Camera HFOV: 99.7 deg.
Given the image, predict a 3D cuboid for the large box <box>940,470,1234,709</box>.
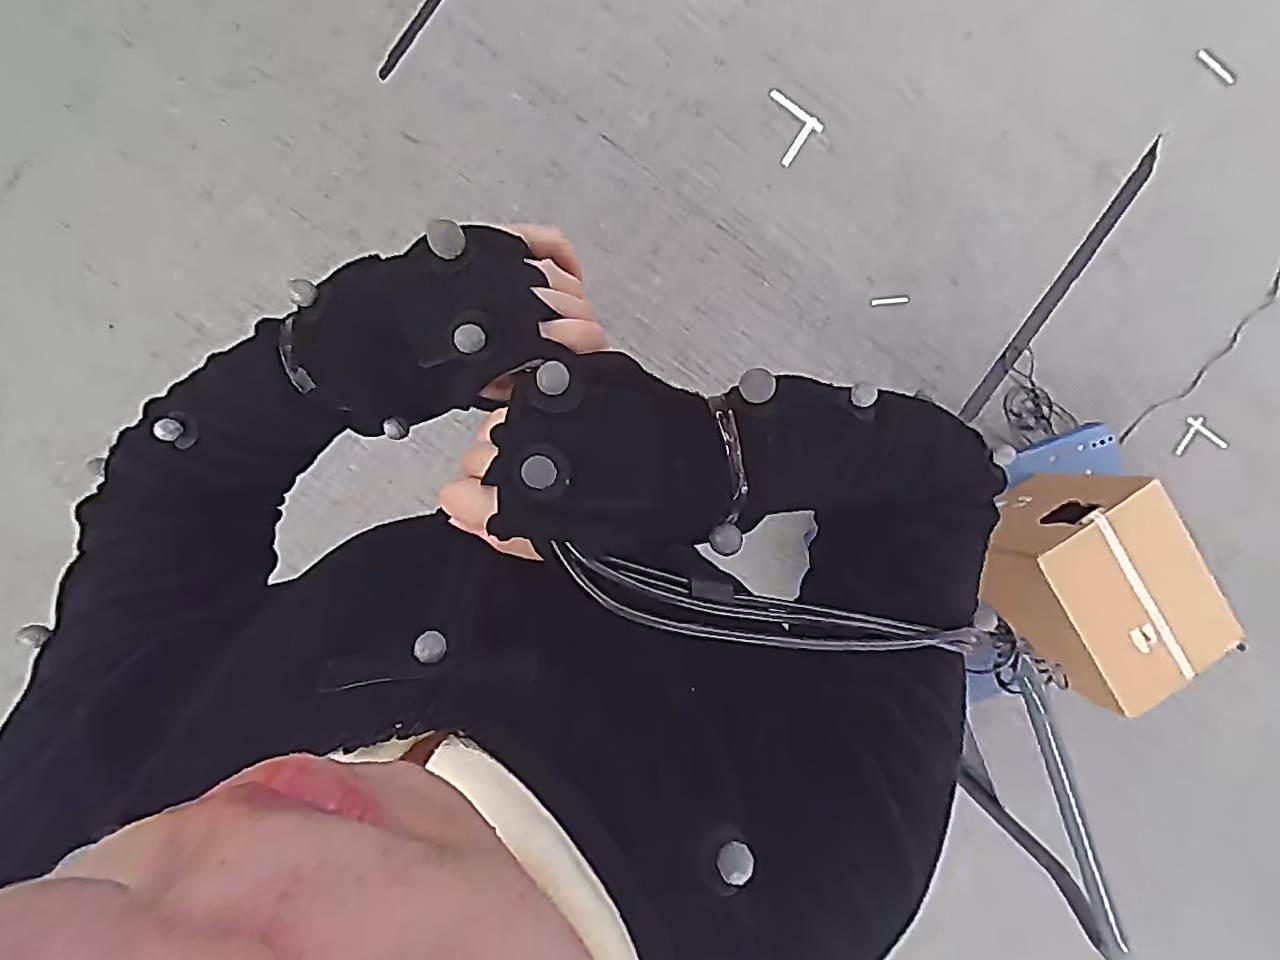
[{"bbox_3d":[1.004,0.224,1.258,0.320,0.320,0.408,-32,95,-2],"label":"large box"}]
